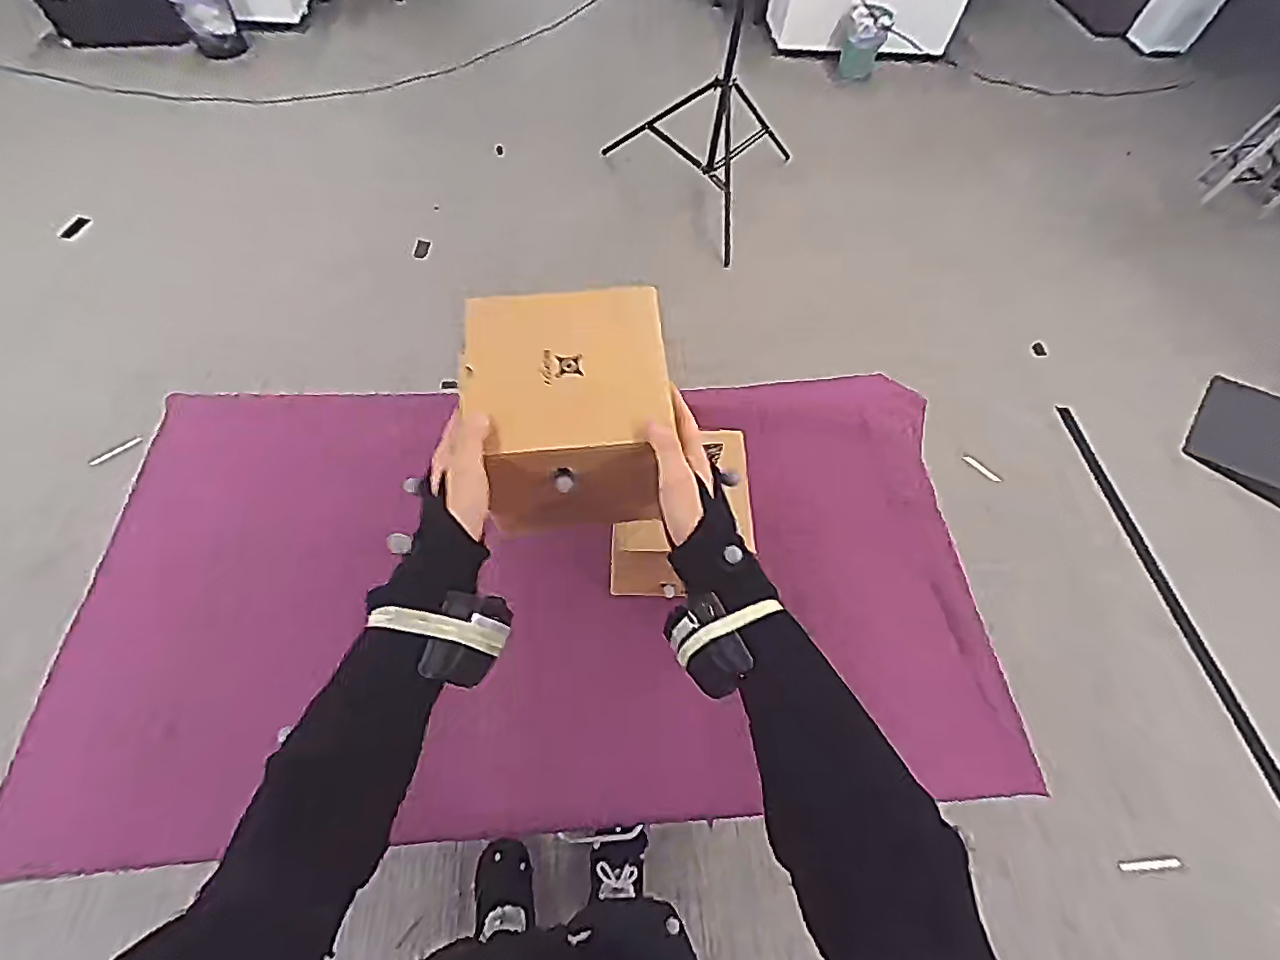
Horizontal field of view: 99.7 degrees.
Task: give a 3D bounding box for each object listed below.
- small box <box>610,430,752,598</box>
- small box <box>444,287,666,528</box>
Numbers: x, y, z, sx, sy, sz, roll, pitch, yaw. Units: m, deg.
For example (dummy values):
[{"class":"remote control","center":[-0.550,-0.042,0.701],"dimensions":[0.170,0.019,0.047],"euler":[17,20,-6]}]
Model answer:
[{"class":"small box","center":[0.046,0.049,0.737],"dimensions":[0.168,0.176,0.179],"euler":[2,61,-3]},{"class":"small box","center":[-0.074,-0.061,0.528],"dimensions":[0.179,0.176,0.168],"euler":[-6,65,-2]}]
